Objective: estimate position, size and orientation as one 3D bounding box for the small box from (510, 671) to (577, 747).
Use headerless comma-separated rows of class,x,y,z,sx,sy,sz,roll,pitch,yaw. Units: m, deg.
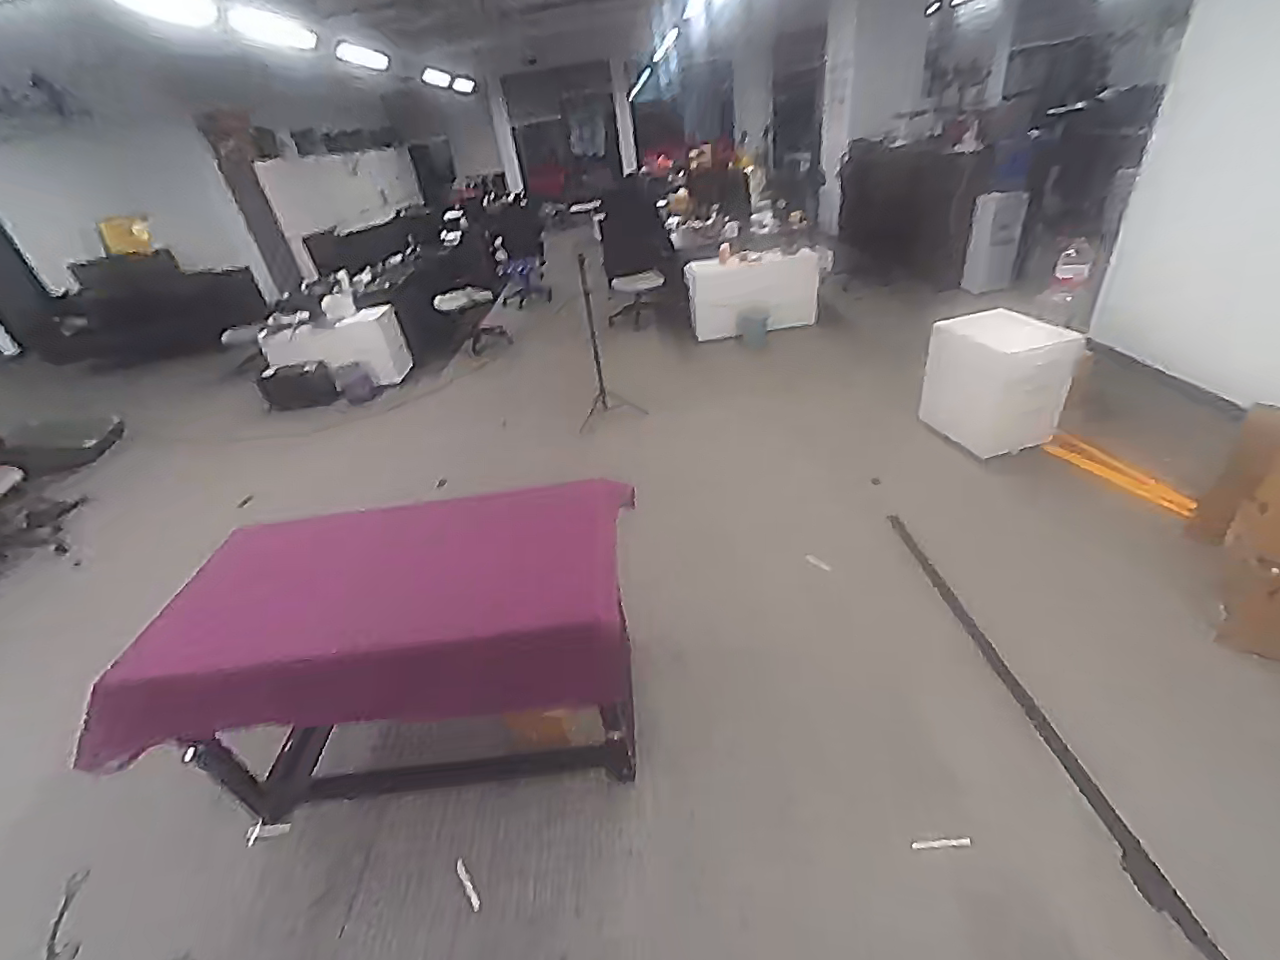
small box,-0.313,0.765,1.803,0.179,0.176,0.168,-7,33,3
